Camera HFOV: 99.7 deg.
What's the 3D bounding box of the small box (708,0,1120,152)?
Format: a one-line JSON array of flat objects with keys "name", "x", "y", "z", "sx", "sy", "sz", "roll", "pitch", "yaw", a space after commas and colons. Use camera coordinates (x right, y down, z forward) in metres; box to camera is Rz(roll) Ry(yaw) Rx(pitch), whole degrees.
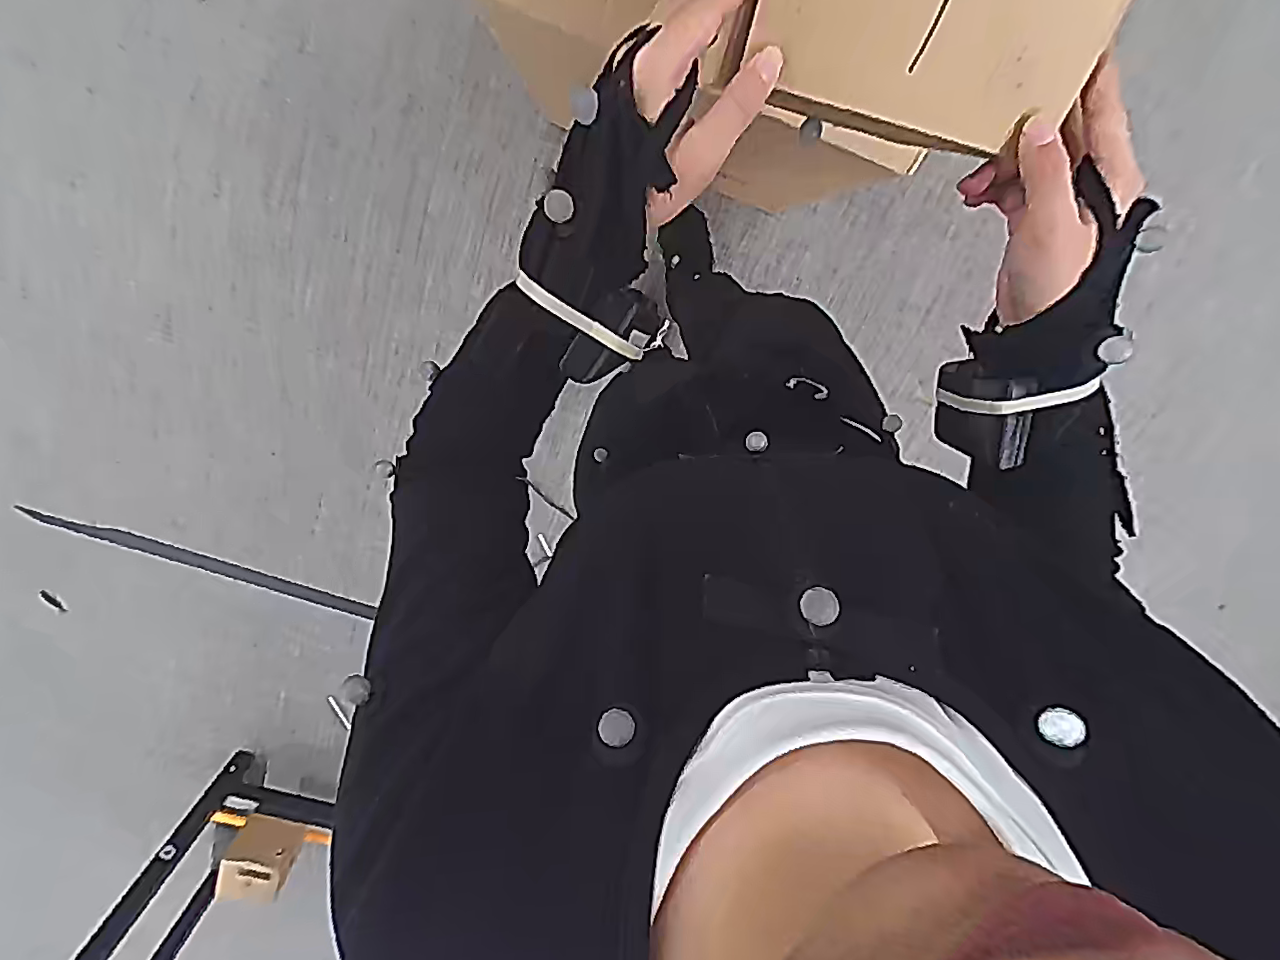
[{"name": "small box", "x": 0.142, "y": -0.298, "z": 0.284, "sx": 0.168, "sy": 0.176, "sz": 0.179, "roll": 11, "pitch": 125, "yaw": -8}]
